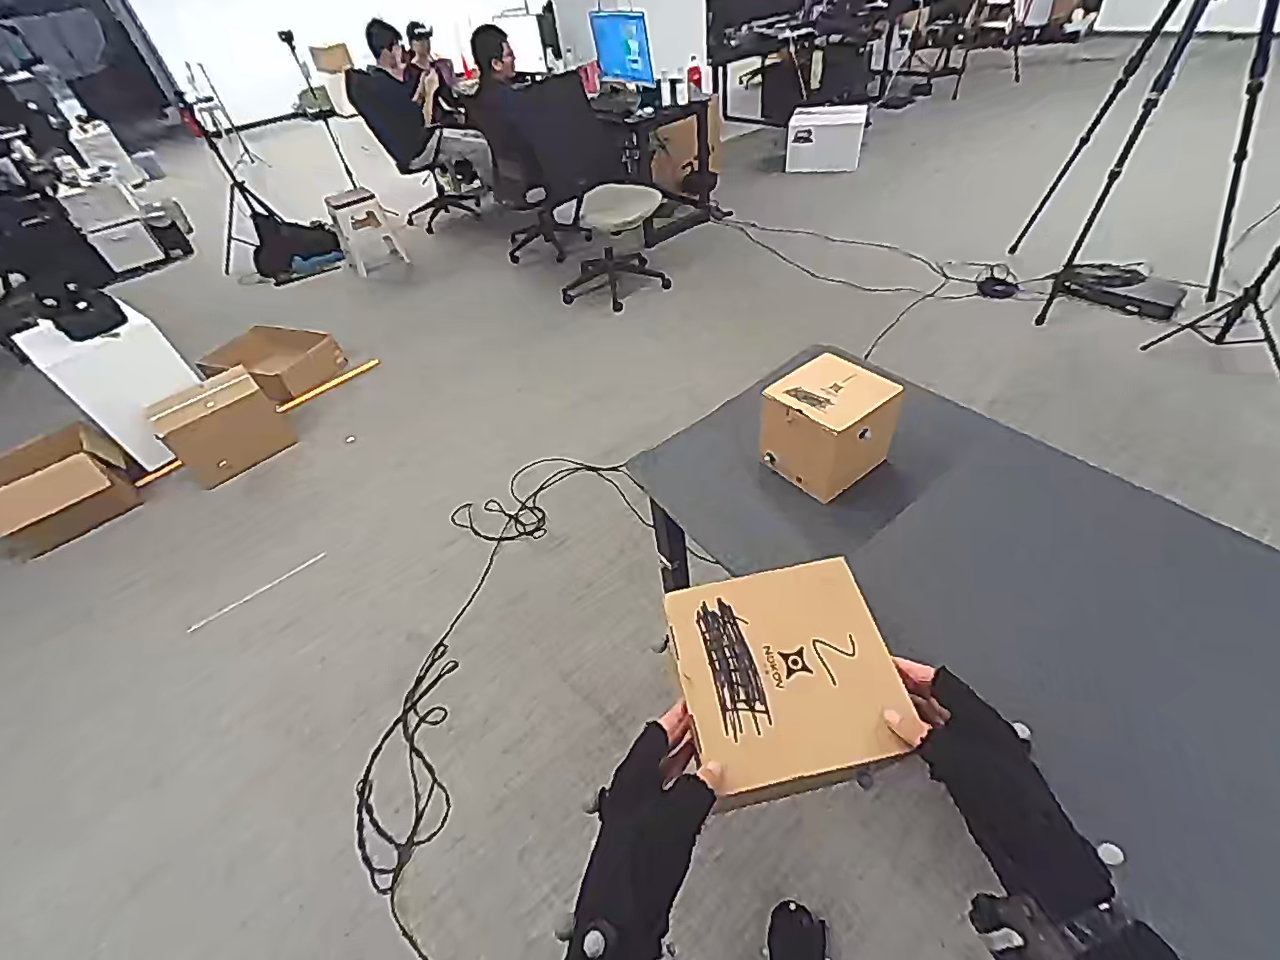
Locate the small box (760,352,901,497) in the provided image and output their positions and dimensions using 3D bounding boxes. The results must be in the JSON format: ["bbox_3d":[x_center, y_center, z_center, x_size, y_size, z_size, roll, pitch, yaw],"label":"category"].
[{"bbox_3d":[0.338,-0.100,0.986,0.179,0.176,0.168,-31,49,-22],"label":"small box"}]
